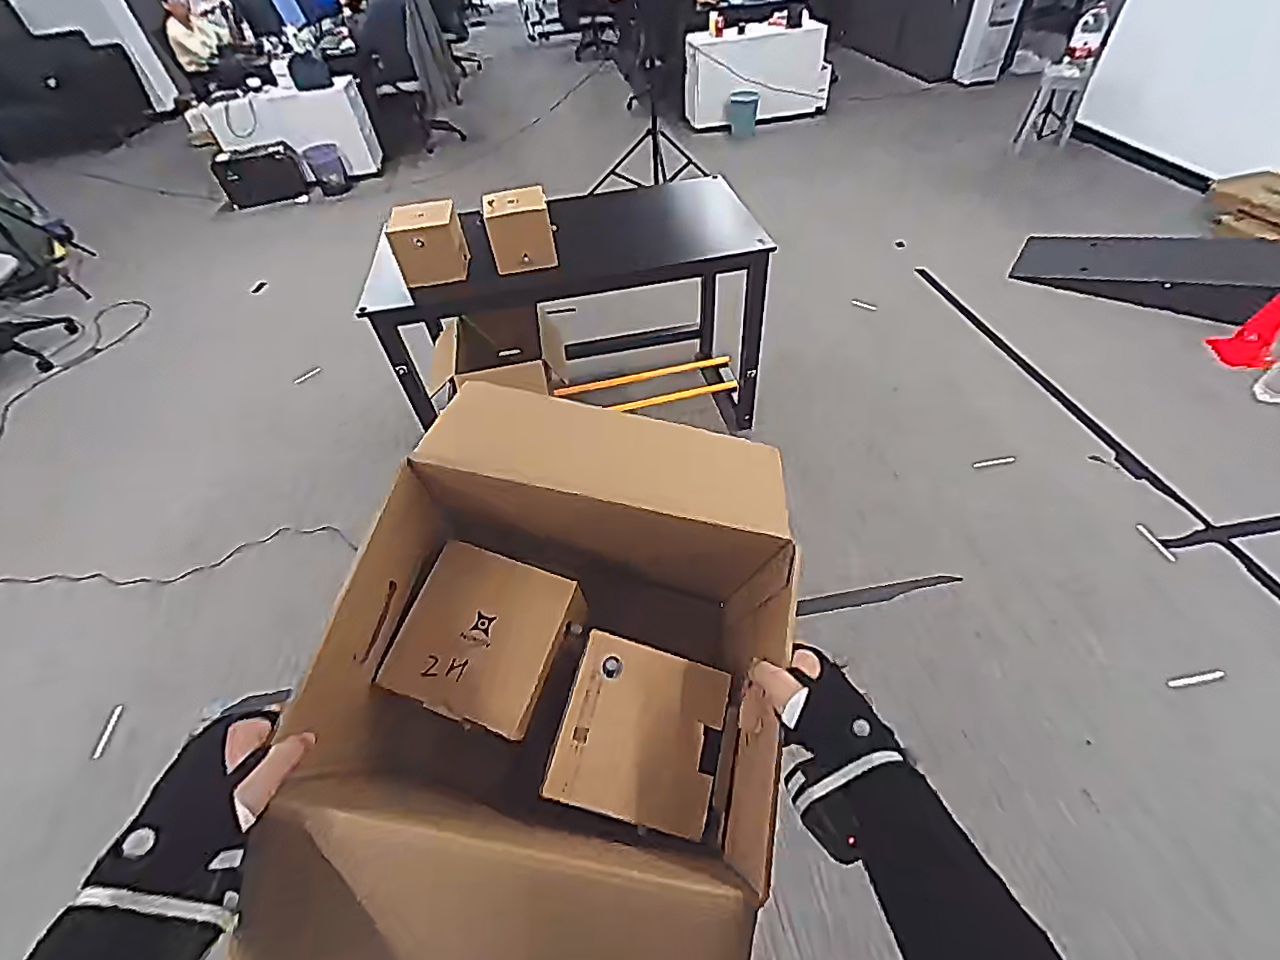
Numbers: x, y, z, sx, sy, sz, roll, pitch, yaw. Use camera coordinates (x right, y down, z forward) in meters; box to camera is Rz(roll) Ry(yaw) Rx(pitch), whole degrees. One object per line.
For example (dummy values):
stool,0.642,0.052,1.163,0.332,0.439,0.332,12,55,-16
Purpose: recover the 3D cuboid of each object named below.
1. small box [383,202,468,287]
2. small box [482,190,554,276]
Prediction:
small box,-0.611,-0.674,1.560,0.179,0.176,0.168,-9,49,-4
small box,-0.352,-0.720,1.576,0.179,0.176,0.168,-11,48,-5
